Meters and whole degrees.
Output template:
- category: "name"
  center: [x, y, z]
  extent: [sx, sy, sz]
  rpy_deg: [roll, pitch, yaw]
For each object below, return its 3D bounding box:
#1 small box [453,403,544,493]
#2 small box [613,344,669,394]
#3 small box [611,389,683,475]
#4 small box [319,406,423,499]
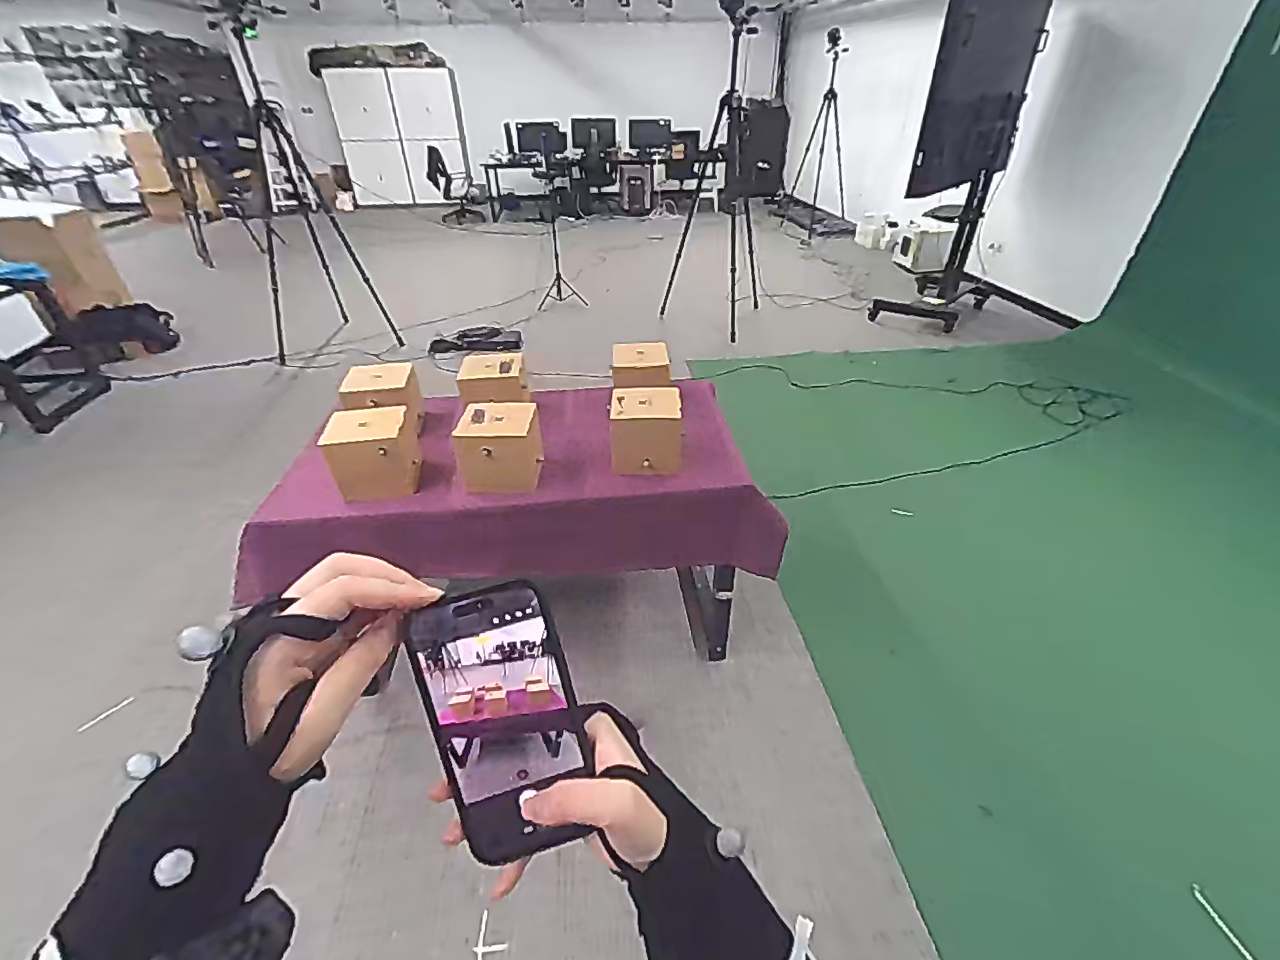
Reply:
- category: "small box"
  center: [-0.347, -0.080, 1.360]
  extent: [0.179, 0.176, 0.168]
  rpy_deg: [0, 36, 0]
- category: "small box"
  center: [0.001, -0.308, 1.671]
  extent: [0.168, 0.176, 0.179]
  rpy_deg: [-2, 36, -1]
- category: "small box"
  center: [0.017, -0.125, 1.416]
  extent: [0.179, 0.176, 0.168]
  rpy_deg: [0, 35, 1]
- category: "small box"
  center: [-0.660, -0.066, 1.348]
  extent: [0.179, 0.176, 0.168]
  rpy_deg: [-6, 36, -10]
